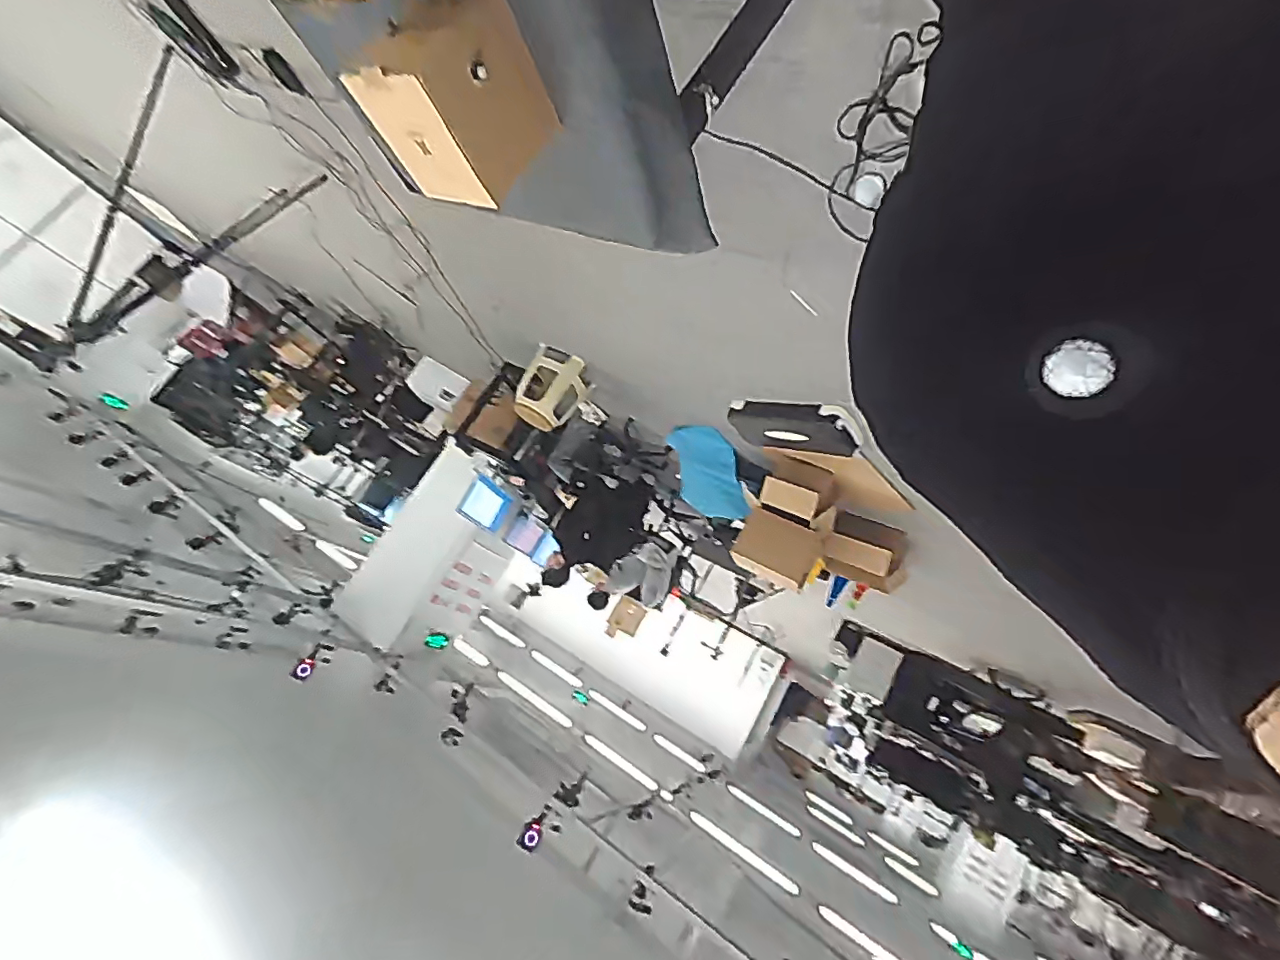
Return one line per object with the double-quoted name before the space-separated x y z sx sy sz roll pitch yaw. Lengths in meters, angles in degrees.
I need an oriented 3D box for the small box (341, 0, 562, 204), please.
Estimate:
"small box" -0.238 -0.507 0.717 0.168 0.176 0.179 25 165 29
